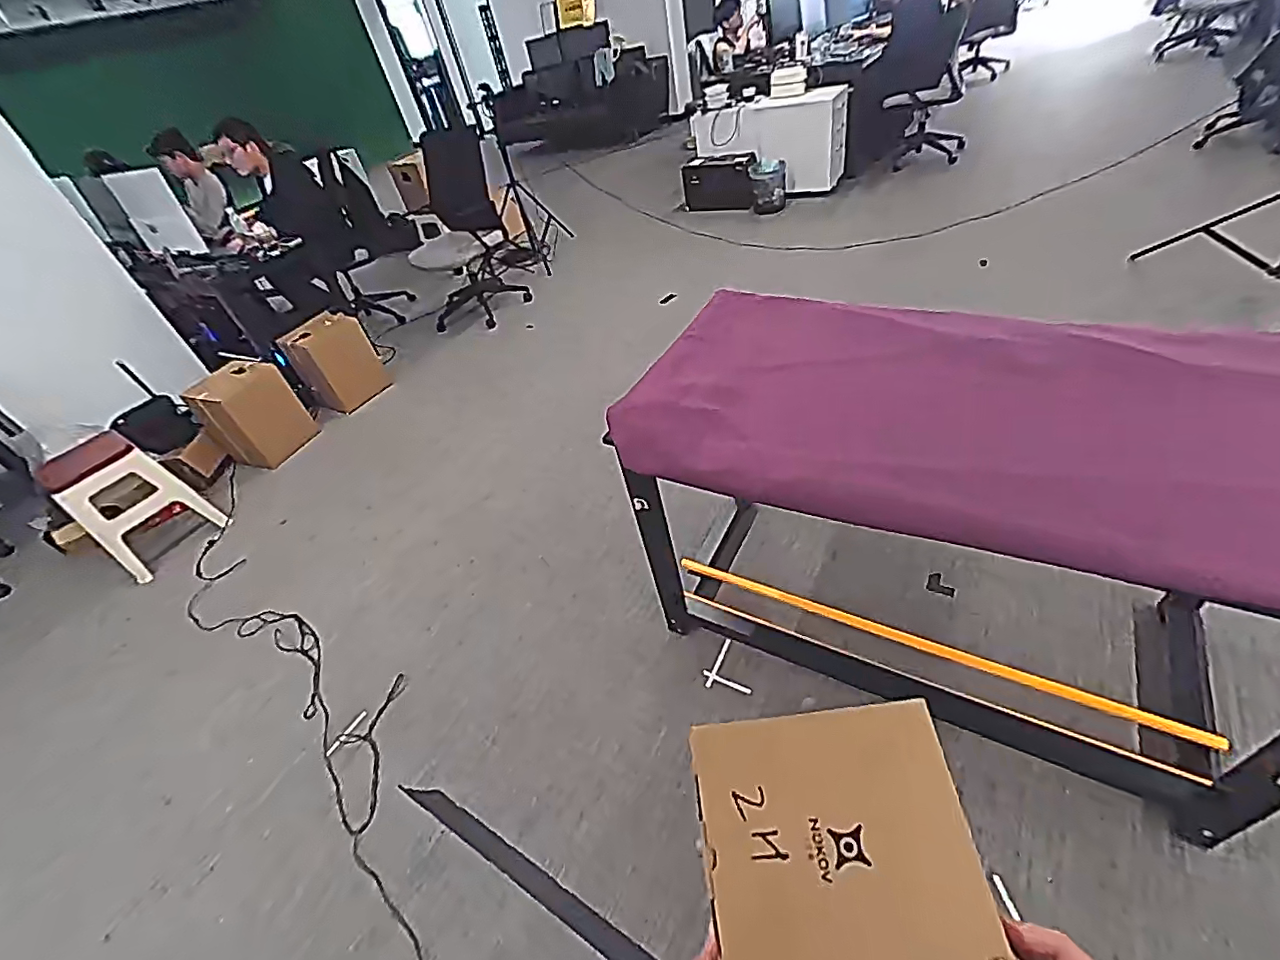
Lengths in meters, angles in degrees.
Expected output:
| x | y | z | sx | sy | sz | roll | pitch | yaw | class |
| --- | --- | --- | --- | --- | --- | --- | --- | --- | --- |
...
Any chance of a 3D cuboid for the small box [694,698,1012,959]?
| x | y | z | sx | sy | sz | roll | pitch | yaw | class |
| --- | --- | --- | --- | --- | --- | --- | --- | --- | --- |
| 0.144 | 0.280 | 0.433 | 0.179 | 0.176 | 0.168 | -9 | 58 | 6 | small box |
